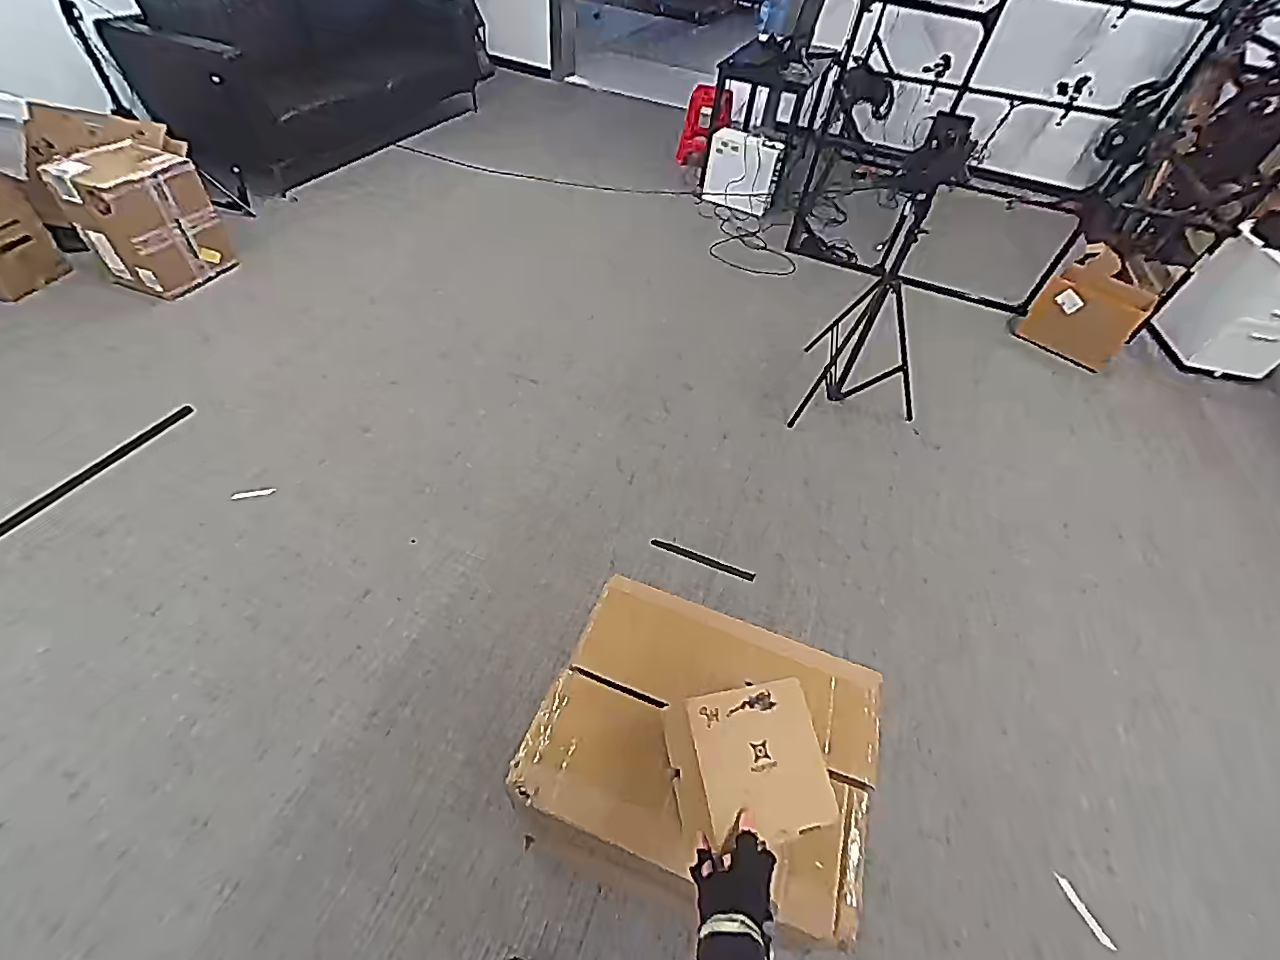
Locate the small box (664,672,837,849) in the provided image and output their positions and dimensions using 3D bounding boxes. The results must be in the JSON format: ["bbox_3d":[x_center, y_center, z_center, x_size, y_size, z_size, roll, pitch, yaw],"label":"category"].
[{"bbox_3d":[0.140,0.384,0.755,0.168,0.176,0.179,-8,63,-12],"label":"small box"}]
